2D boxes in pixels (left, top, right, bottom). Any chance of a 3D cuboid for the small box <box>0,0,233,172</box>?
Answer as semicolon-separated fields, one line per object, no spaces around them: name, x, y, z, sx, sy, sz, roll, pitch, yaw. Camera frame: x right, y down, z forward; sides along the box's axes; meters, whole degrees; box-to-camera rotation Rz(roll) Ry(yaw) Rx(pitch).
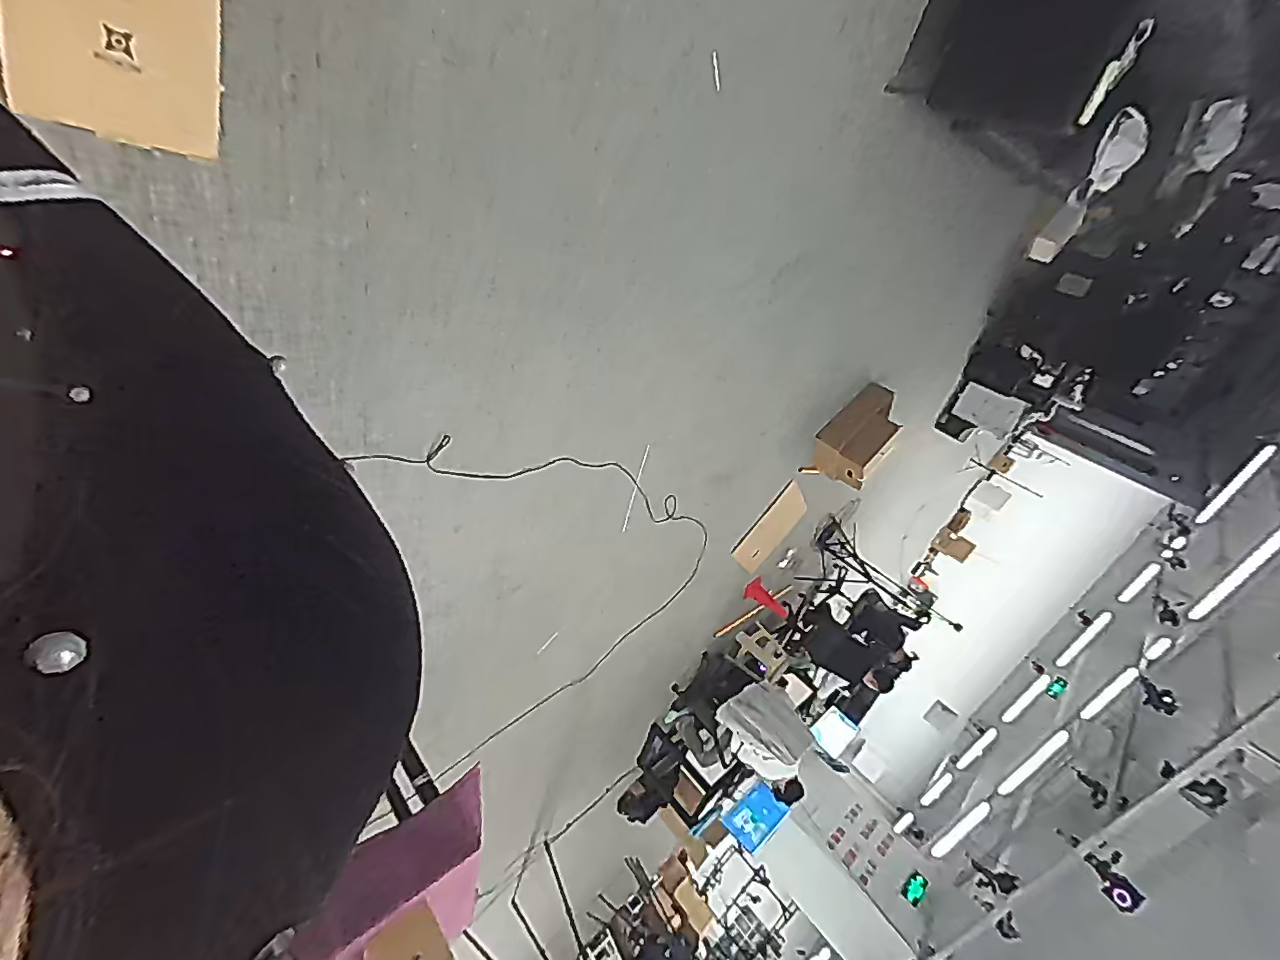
small box;-0.567;-0.471;0.589;0.168;0.176;0.179;-9;127;-48

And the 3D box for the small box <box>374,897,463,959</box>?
small box;-0.620;1.324;1.508;0.179;0.176;0.168;-15;133;-42
